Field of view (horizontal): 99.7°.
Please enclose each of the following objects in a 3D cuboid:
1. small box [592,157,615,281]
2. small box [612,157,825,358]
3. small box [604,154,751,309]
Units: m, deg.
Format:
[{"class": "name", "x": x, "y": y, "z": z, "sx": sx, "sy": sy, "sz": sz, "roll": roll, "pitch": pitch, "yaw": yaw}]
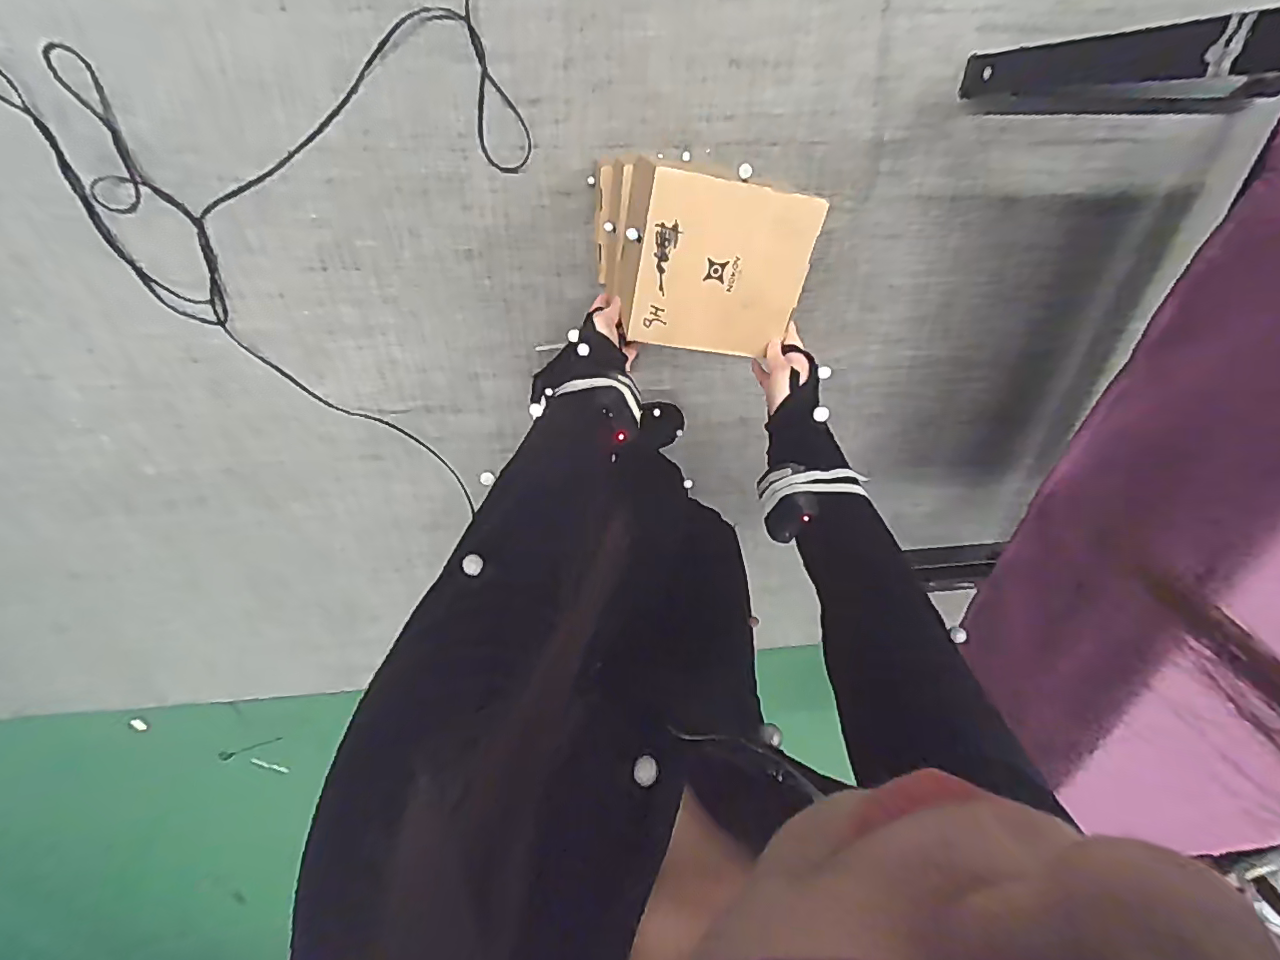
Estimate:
[{"class": "small box", "x": 0.012, "y": -0.428, "z": 0.890, "sx": 0.179, "sy": 0.176, "sz": 0.168, "roll": -1, "pitch": 125, "yaw": -8}, {"class": "small box", "x": 0.072, "y": -0.256, "z": 0.615, "sx": 0.179, "sy": 0.176, "sz": 0.168, "roll": 4, "pitch": 123, "yaw": -12}, {"class": "small box", "x": 0.040, "y": -0.342, "z": 0.752, "sx": 0.168, "sy": 0.176, "sz": 0.179, "roll": 2, "pitch": 125, "yaw": -9}]
